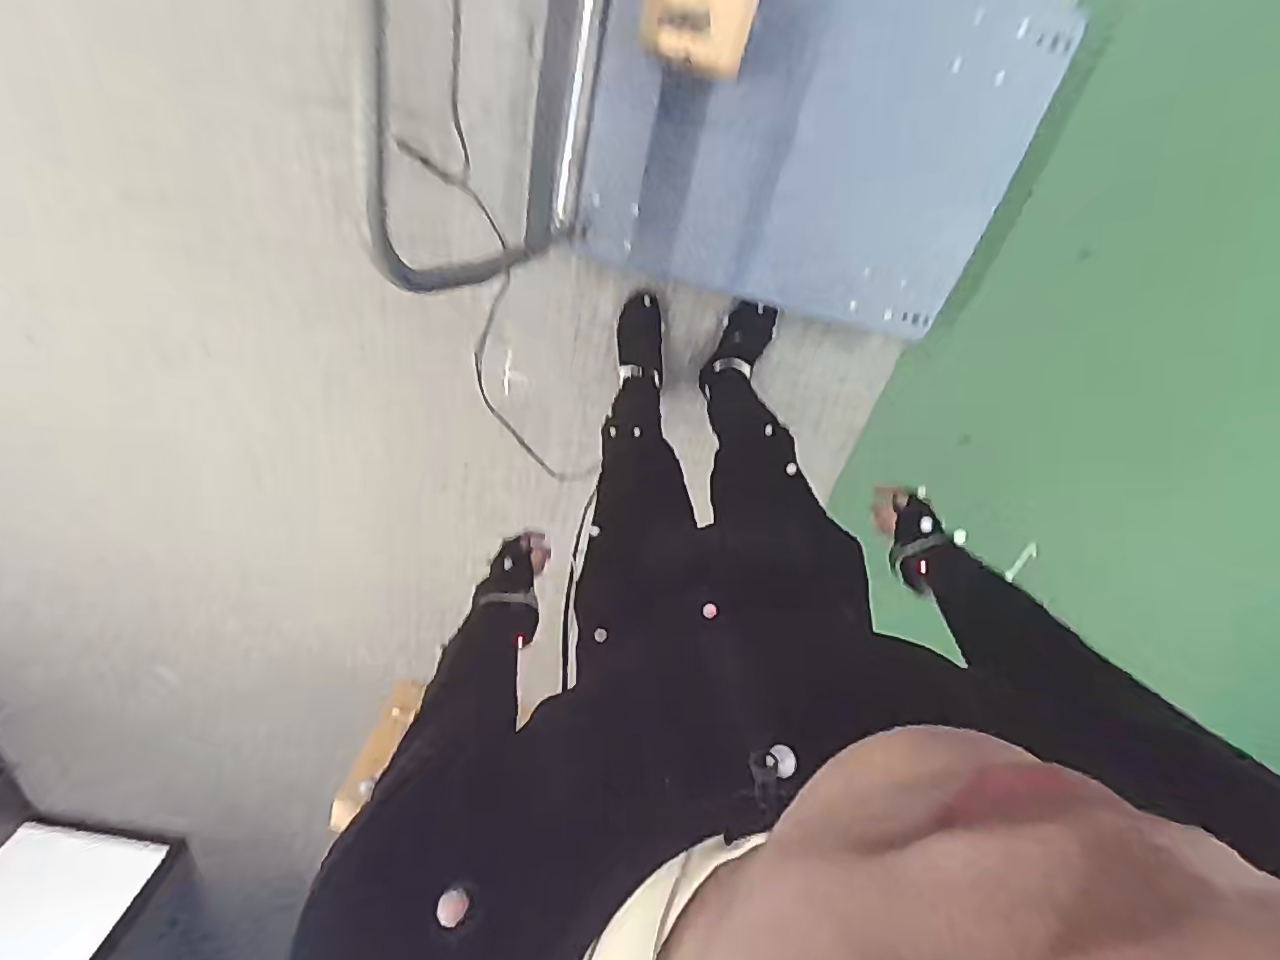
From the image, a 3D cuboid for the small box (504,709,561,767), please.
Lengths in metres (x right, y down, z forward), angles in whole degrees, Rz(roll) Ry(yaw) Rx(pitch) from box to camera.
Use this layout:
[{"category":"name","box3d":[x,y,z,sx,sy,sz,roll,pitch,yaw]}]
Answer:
[{"category":"small box","box3d":[-0.430,1.060,2.188,0.179,0.176,0.168,18,119,-6]}]

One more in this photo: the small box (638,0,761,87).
[{"category":"small box","box3d":[0.103,-0.758,0.861,0.168,0.176,0.179,16,120,-5]}]

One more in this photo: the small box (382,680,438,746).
[{"category":"small box","box3d":[-0.923,0.933,2.146,0.168,0.176,0.179,22,118,-11]}]

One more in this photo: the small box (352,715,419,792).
[{"category":"small box","box3d":[-0.941,1.015,2.009,0.168,0.176,0.179,19,119,-6]}]
